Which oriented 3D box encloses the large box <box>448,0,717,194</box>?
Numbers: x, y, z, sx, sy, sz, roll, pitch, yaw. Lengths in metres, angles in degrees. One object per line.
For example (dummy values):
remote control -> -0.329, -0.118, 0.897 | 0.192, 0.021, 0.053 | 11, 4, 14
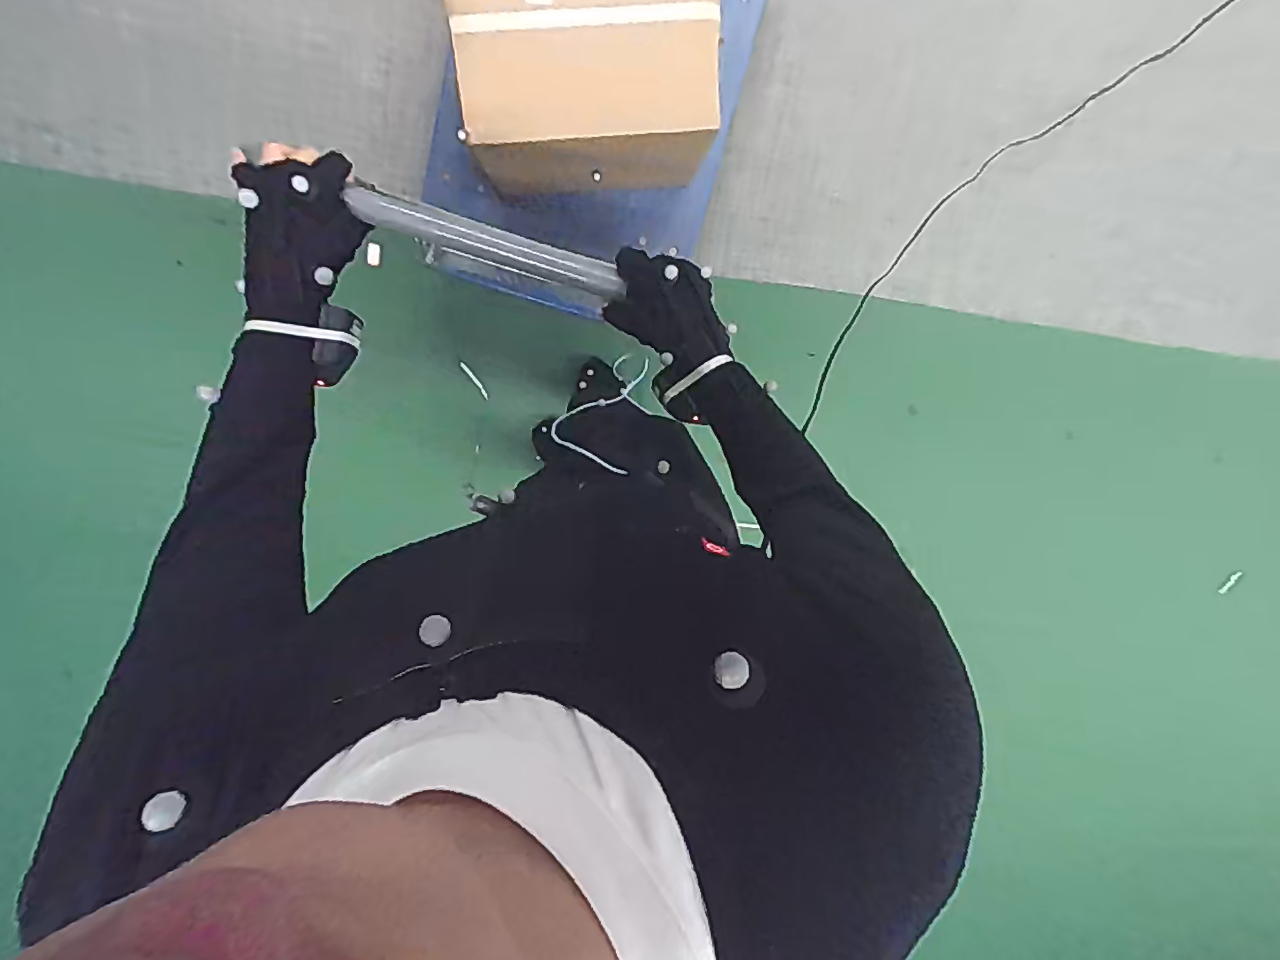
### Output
large box -> -0.093, -0.722, 0.961 | 0.408, 0.320, 0.320 | -4, 104, -3
